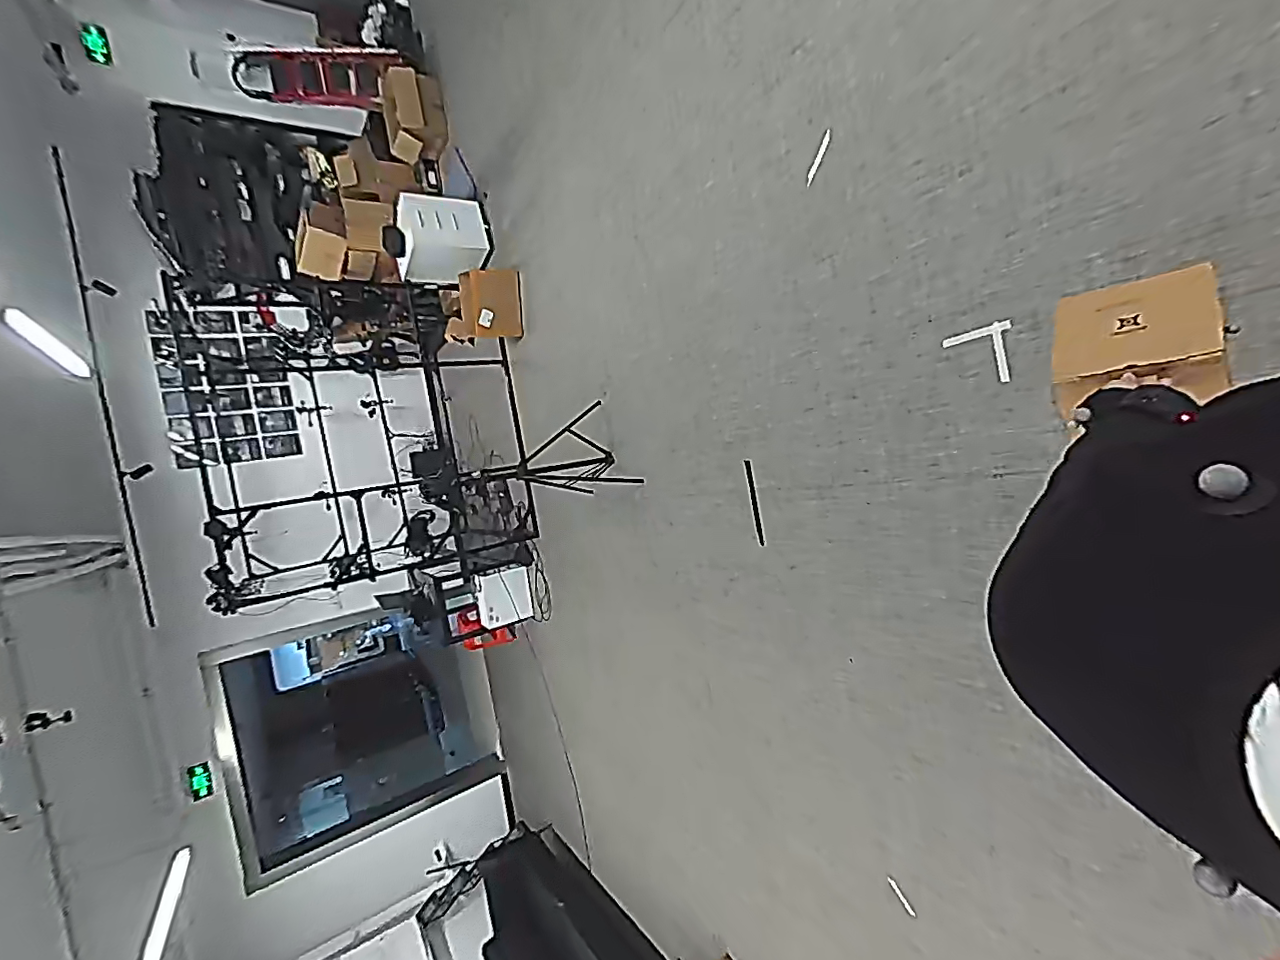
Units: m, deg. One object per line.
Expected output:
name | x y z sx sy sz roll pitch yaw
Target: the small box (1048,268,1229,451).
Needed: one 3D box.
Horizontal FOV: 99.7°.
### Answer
small box | 0.699 -0.154 0.762 0.168 0.179 0.176 -7 135 46
